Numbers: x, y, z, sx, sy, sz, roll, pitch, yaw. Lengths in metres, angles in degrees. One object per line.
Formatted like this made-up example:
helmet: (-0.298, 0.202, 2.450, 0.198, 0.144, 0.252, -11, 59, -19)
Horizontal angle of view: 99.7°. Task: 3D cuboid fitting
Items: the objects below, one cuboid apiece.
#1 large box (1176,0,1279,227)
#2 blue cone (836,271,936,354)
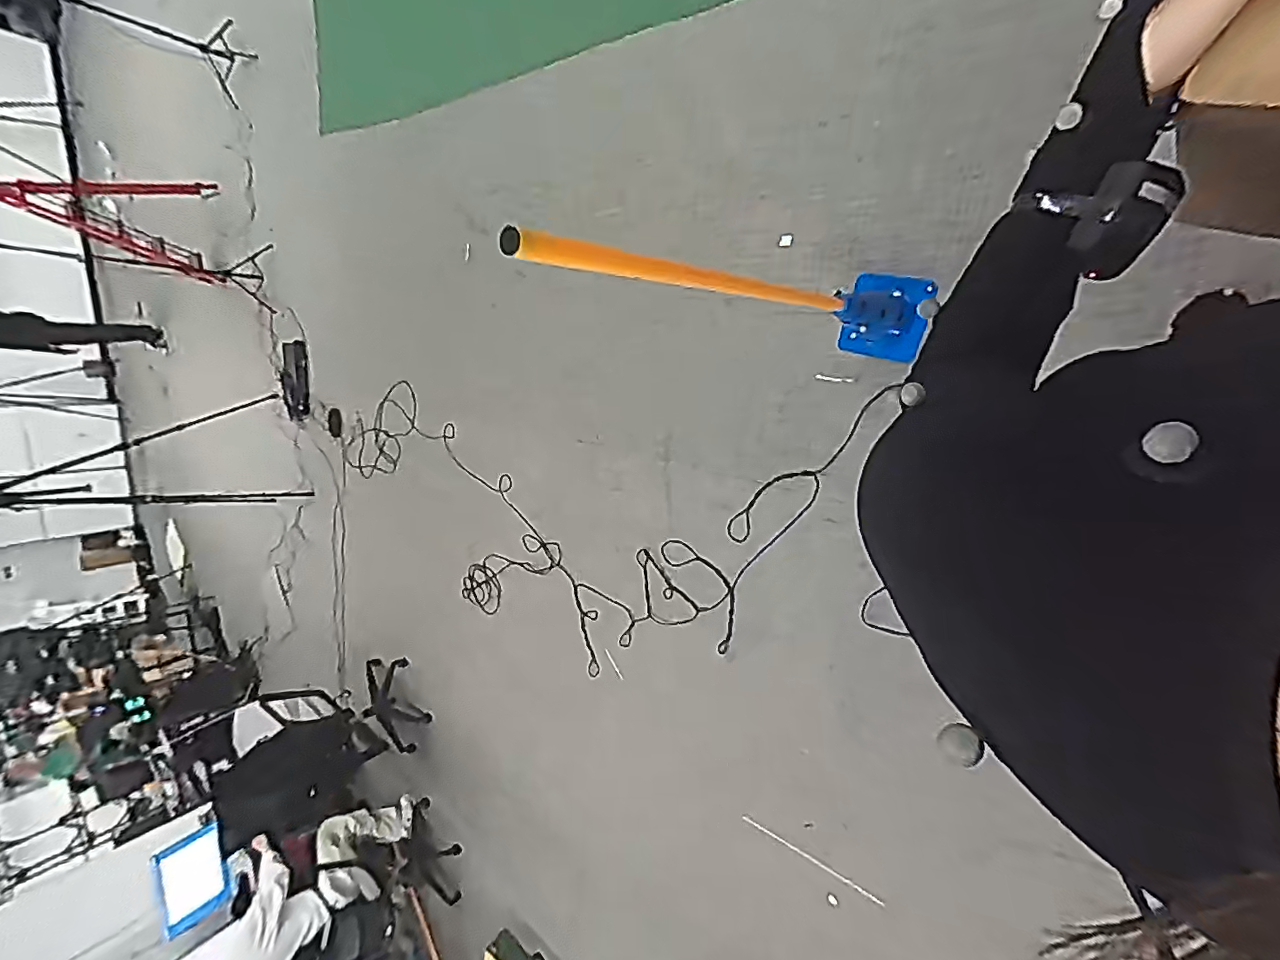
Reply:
large box: (0.622, -0.315, 0.282, 0.408, 0.320, 0.320, 33, 117, 36)
blue cone: (0.529, -0.403, 1.247, 0.193, 0.380, 0.192, 25, 112, 33)
